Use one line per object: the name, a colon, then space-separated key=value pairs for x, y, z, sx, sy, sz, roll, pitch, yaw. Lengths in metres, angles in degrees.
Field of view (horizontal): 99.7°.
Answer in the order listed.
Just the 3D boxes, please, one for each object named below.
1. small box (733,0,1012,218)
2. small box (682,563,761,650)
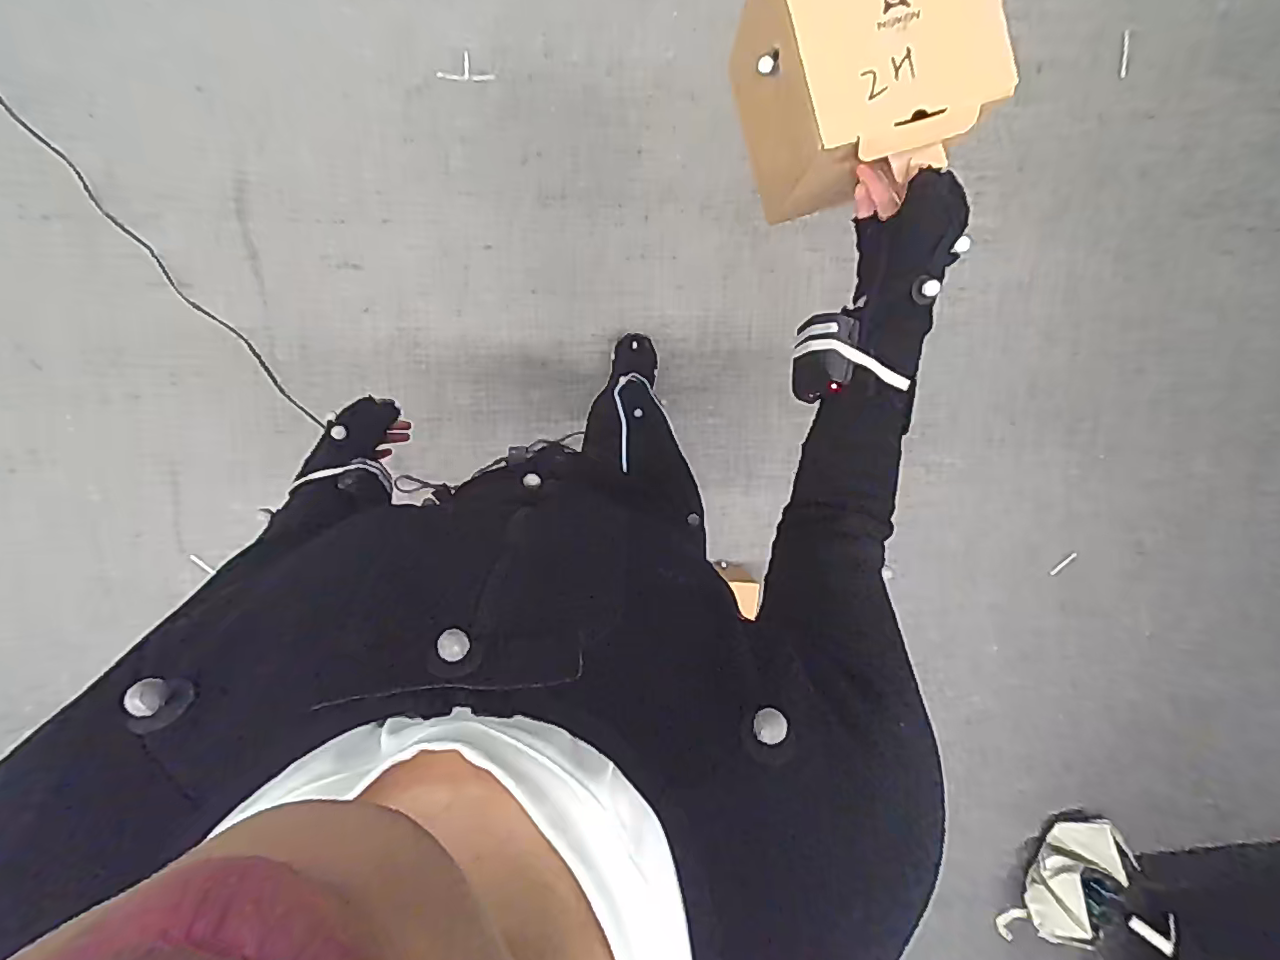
small box: x=0.198 y=-0.383 z=0.509 sx=0.168 sy=0.176 sz=0.179 roll=-17 pitch=96 yaw=0
small box: x=0.210 y=0.335 z=1.453 sx=0.168 sy=0.176 sz=0.179 roll=5 pitch=97 yaw=-7
